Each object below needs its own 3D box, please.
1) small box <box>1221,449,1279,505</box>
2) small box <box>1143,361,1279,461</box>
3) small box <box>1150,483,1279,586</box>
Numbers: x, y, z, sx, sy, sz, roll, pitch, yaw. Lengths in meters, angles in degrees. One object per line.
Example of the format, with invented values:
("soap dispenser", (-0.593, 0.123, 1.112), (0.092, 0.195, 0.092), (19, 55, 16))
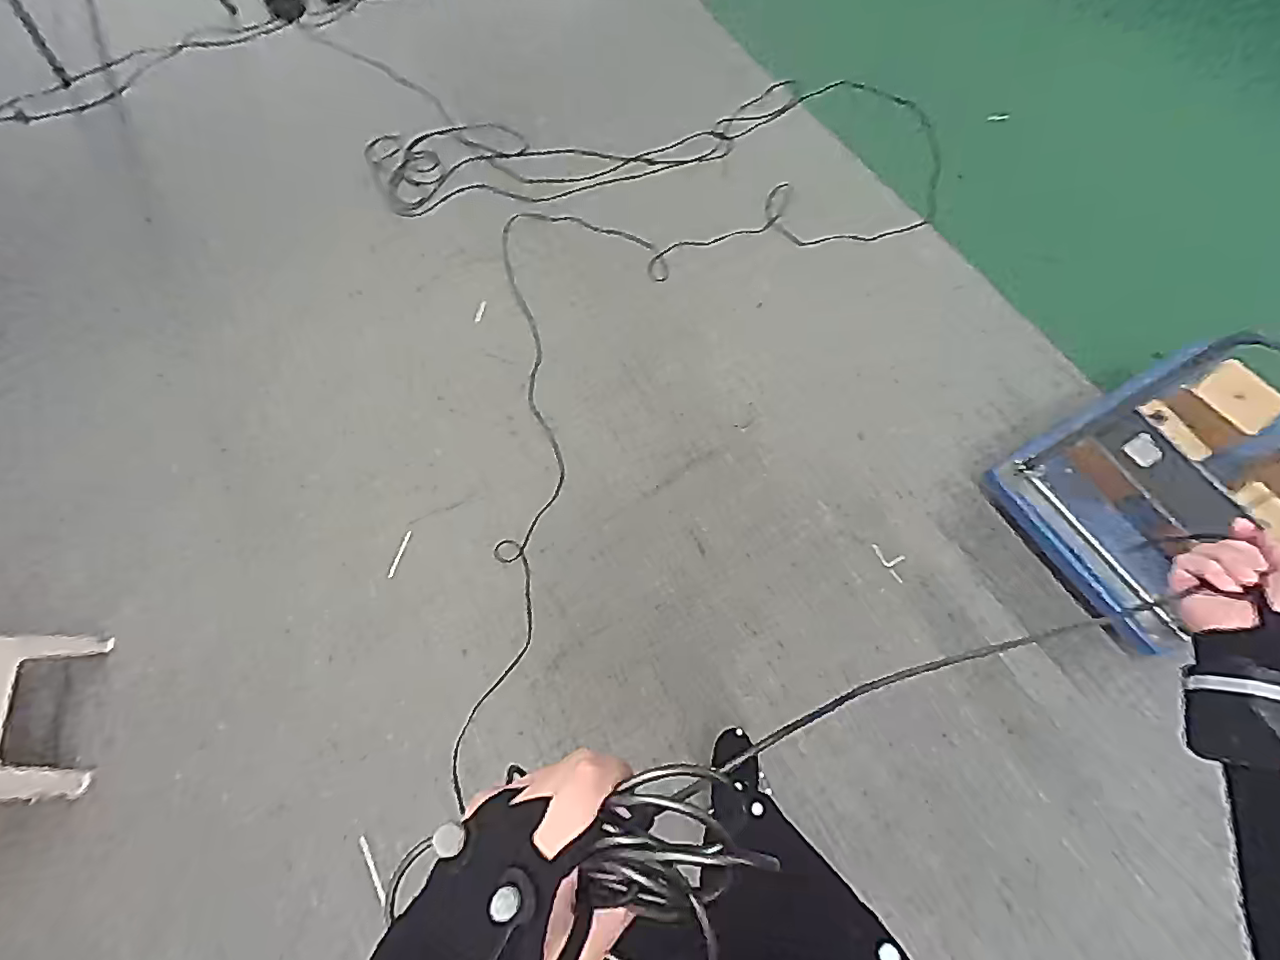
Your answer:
("small box", (1.663, 0.013, 1.370), (0.179, 0.176, 0.168), (-32, 70, -11))
("small box", (1.523, -0.179, 1.453), (0.179, 0.176, 0.168), (-31, 71, -12))
("small box", (1.428, 0.137, 1.320), (0.179, 0.176, 0.168), (-27, 70, -10))
